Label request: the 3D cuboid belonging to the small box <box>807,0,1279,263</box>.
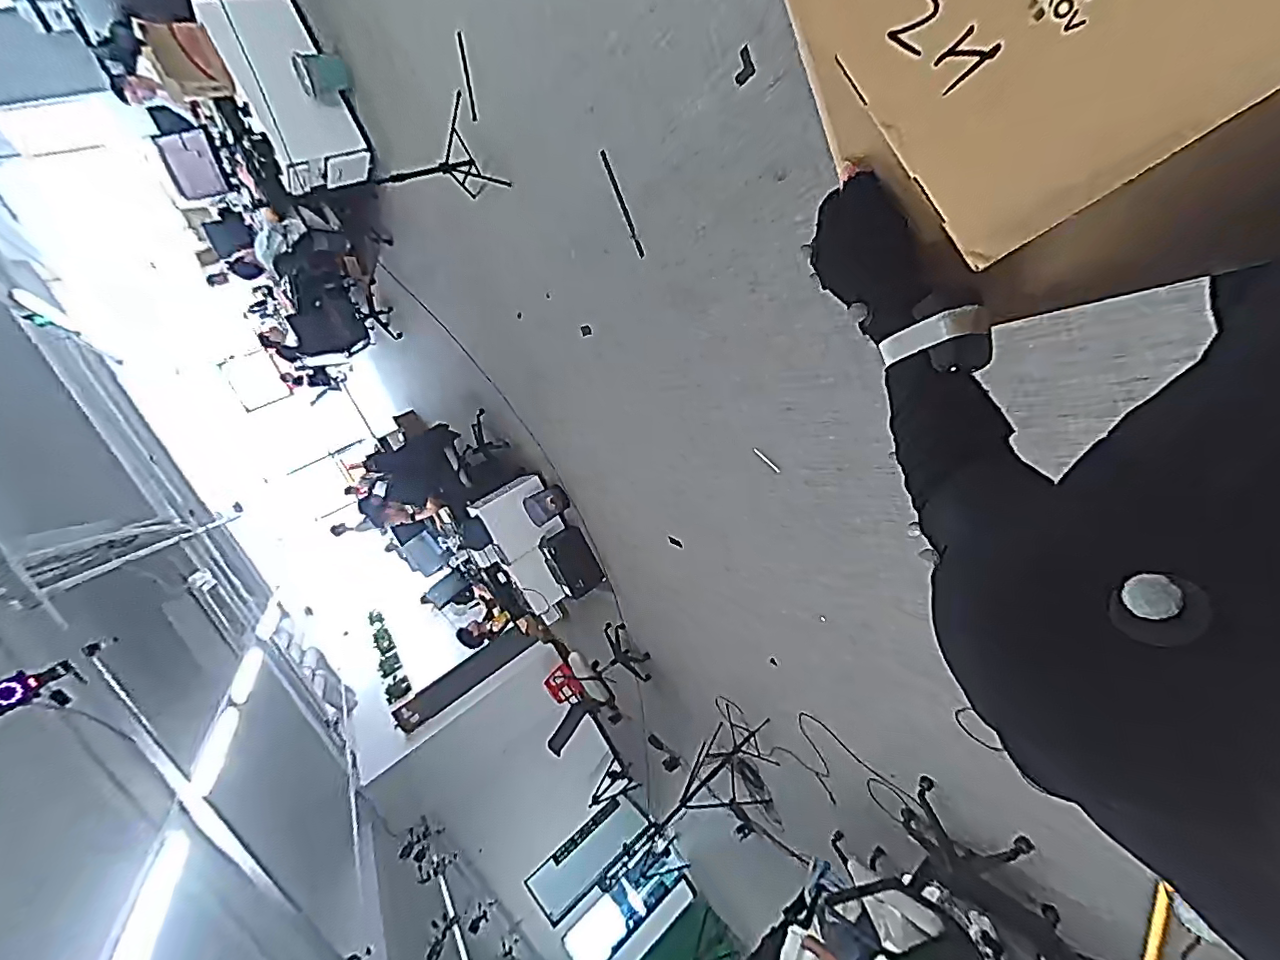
[{"bbox_3d":[0.224,-0.245,0.258,0.168,0.176,0.179,54,145,-4],"label":"small box"}]
